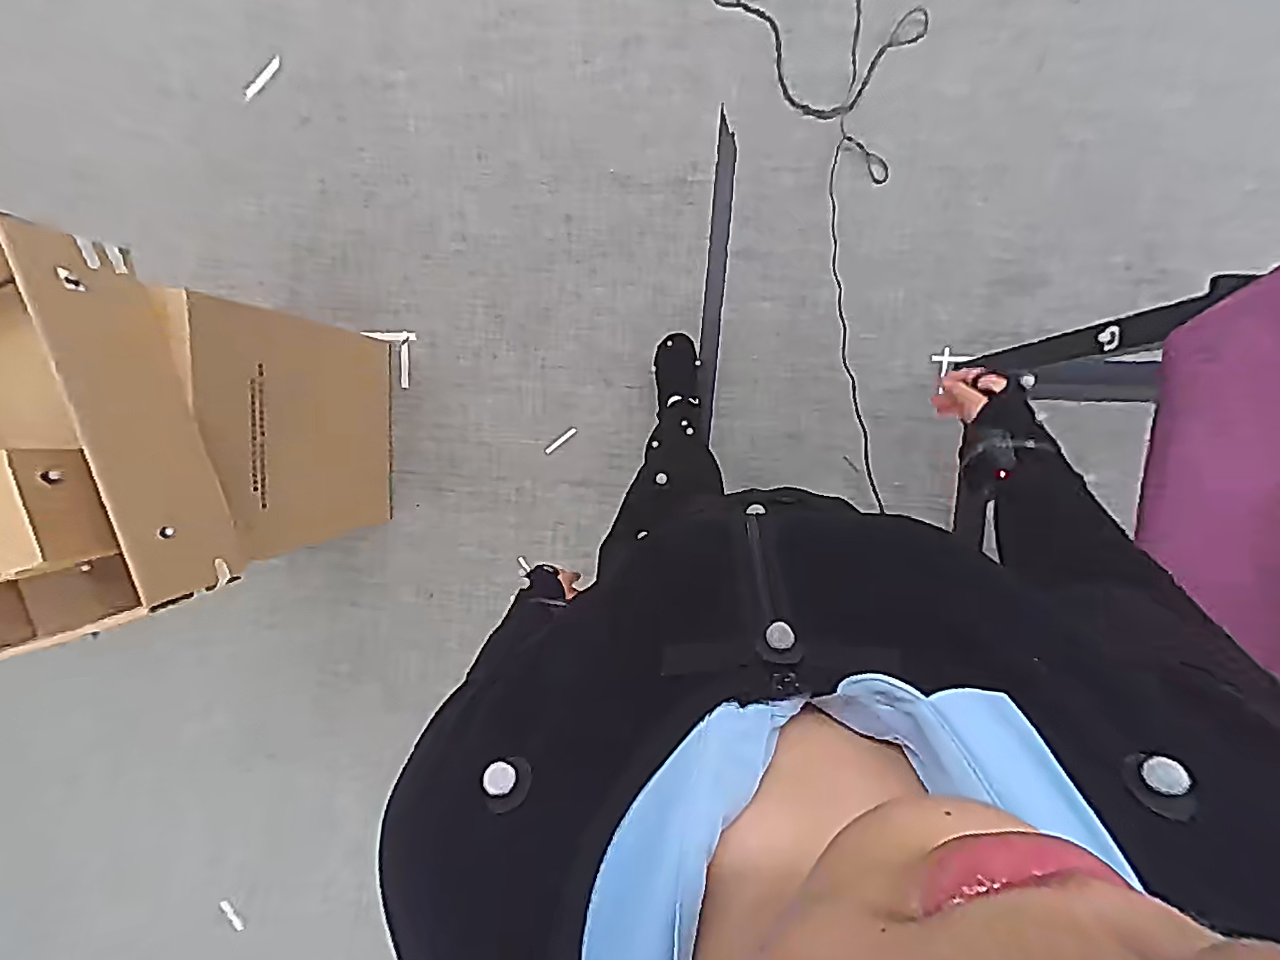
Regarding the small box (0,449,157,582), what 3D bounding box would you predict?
[{"bbox_3d":[-0.936,0.055,0.859,0.168,0.176,0.179,-16,93,7],"label":"small box"}]
